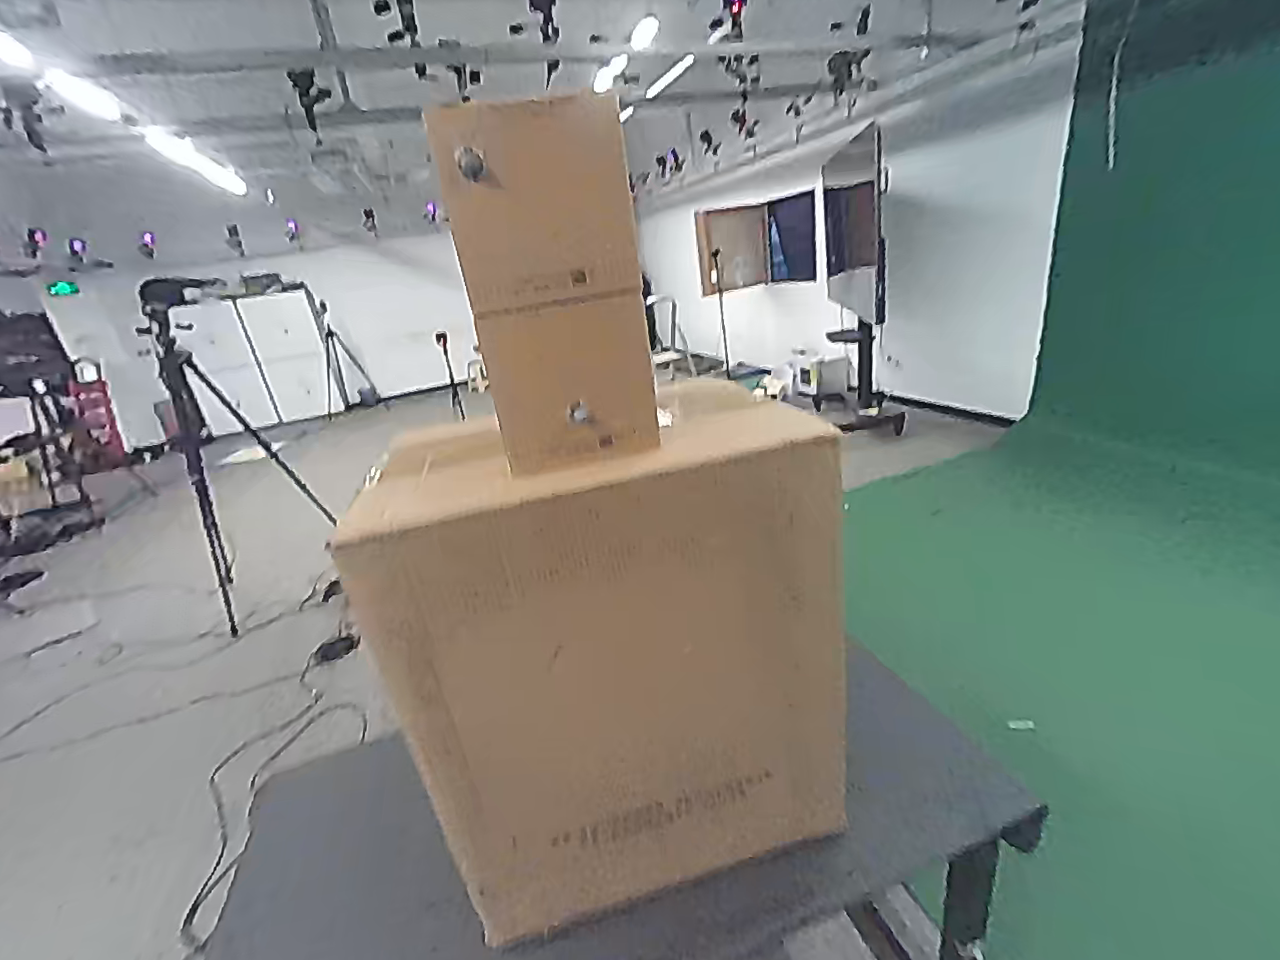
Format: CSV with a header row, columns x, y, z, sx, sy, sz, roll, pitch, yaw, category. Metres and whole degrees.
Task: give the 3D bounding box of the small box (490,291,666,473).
x,y,z,sx,sy,sz,roll,pitch,yaw,category
-0.073,-0.122,0.636,0.168,0.176,0.179,-12,24,-9,small box
